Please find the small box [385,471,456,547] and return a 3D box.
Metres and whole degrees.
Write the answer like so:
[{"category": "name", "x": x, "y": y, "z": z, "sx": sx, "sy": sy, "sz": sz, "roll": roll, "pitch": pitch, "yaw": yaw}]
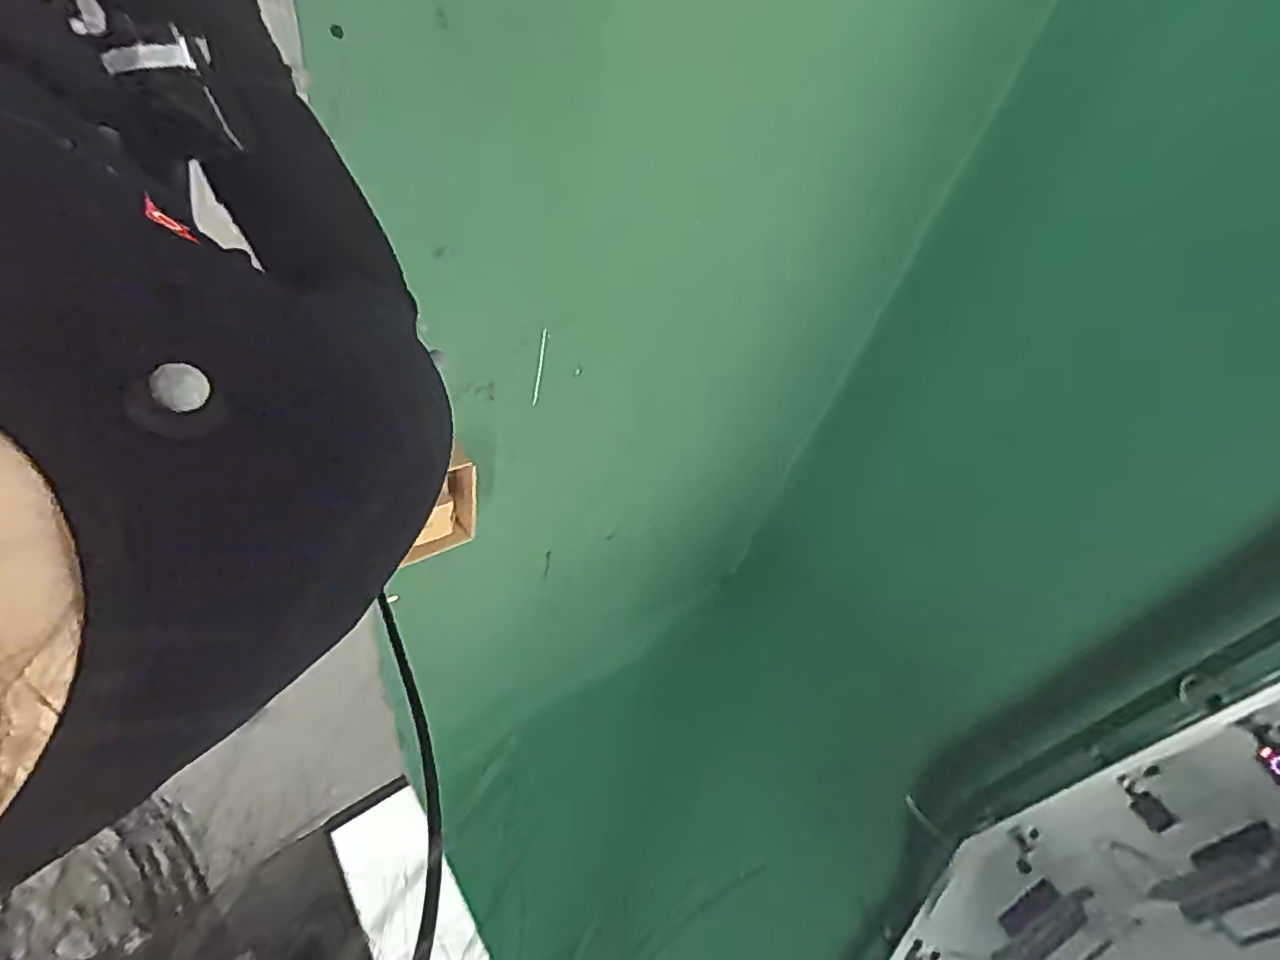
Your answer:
[{"category": "small box", "x": -0.748, "y": 0.091, "z": 1.847, "sx": 0.179, "sy": 0.176, "sz": 0.168, "roll": -20, "pitch": 144, "yaw": -35}]
